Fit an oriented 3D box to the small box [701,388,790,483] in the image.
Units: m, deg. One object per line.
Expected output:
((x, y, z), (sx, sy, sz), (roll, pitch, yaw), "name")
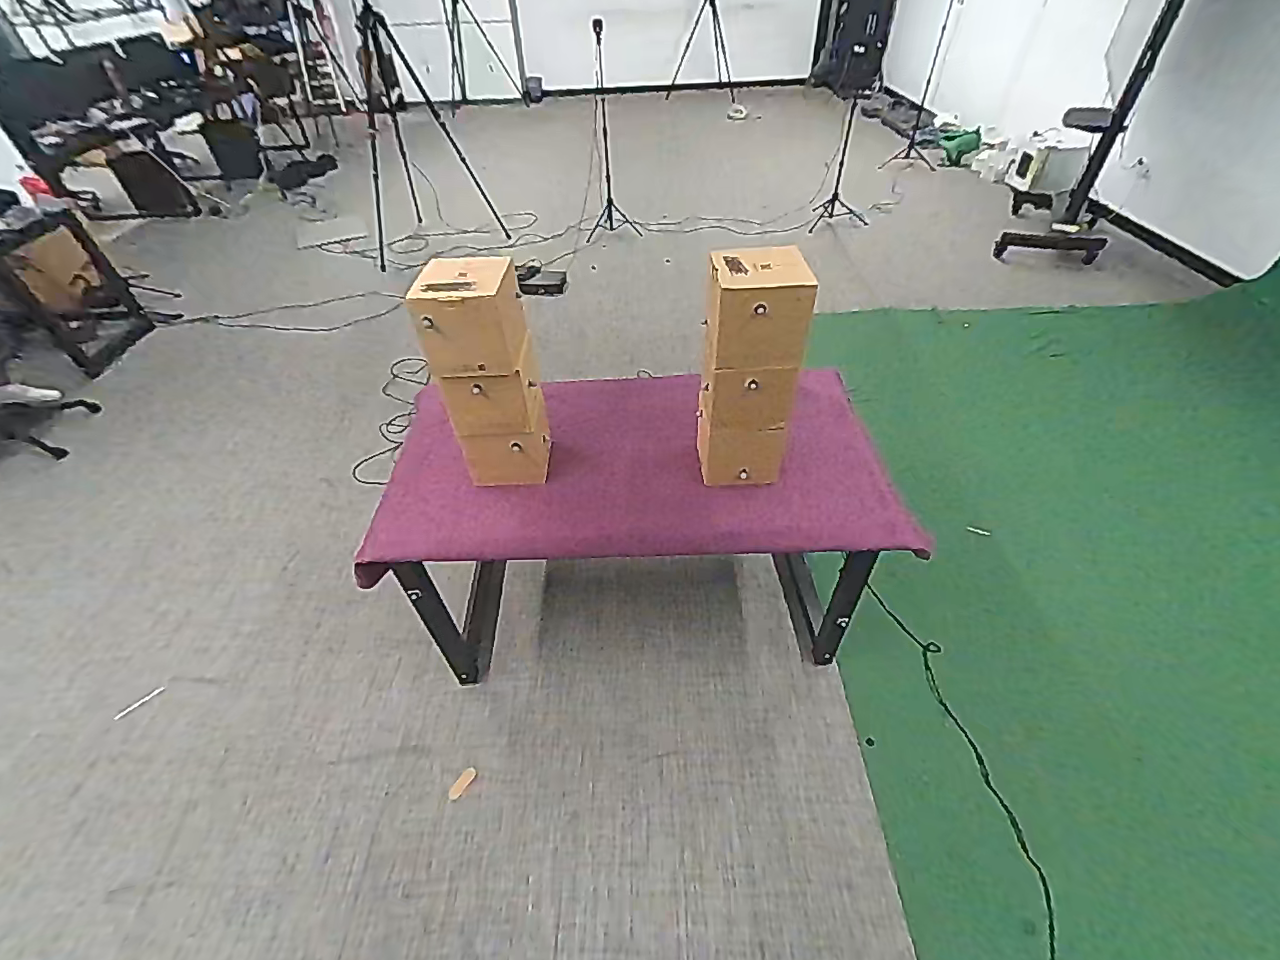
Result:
((0.243, -0.108, 1.292), (0.179, 0.176, 0.168), (-3, 45, 0), "small box")

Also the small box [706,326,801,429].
((0.237, -0.225, 1.177), (0.179, 0.176, 0.168), (-2, 46, 1), "small box")

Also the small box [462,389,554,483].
((-0.311, -0.107, 1.323), (0.179, 0.176, 0.168), (-2, 45, 1), "small box")

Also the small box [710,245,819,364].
((0.232, -0.342, 1.062), (0.179, 0.176, 0.168), (-3, 46, 1), "small box")

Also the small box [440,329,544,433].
((-0.317, -0.219, 1.206), (0.179, 0.176, 0.168), (-2, 46, 1), "small box")
